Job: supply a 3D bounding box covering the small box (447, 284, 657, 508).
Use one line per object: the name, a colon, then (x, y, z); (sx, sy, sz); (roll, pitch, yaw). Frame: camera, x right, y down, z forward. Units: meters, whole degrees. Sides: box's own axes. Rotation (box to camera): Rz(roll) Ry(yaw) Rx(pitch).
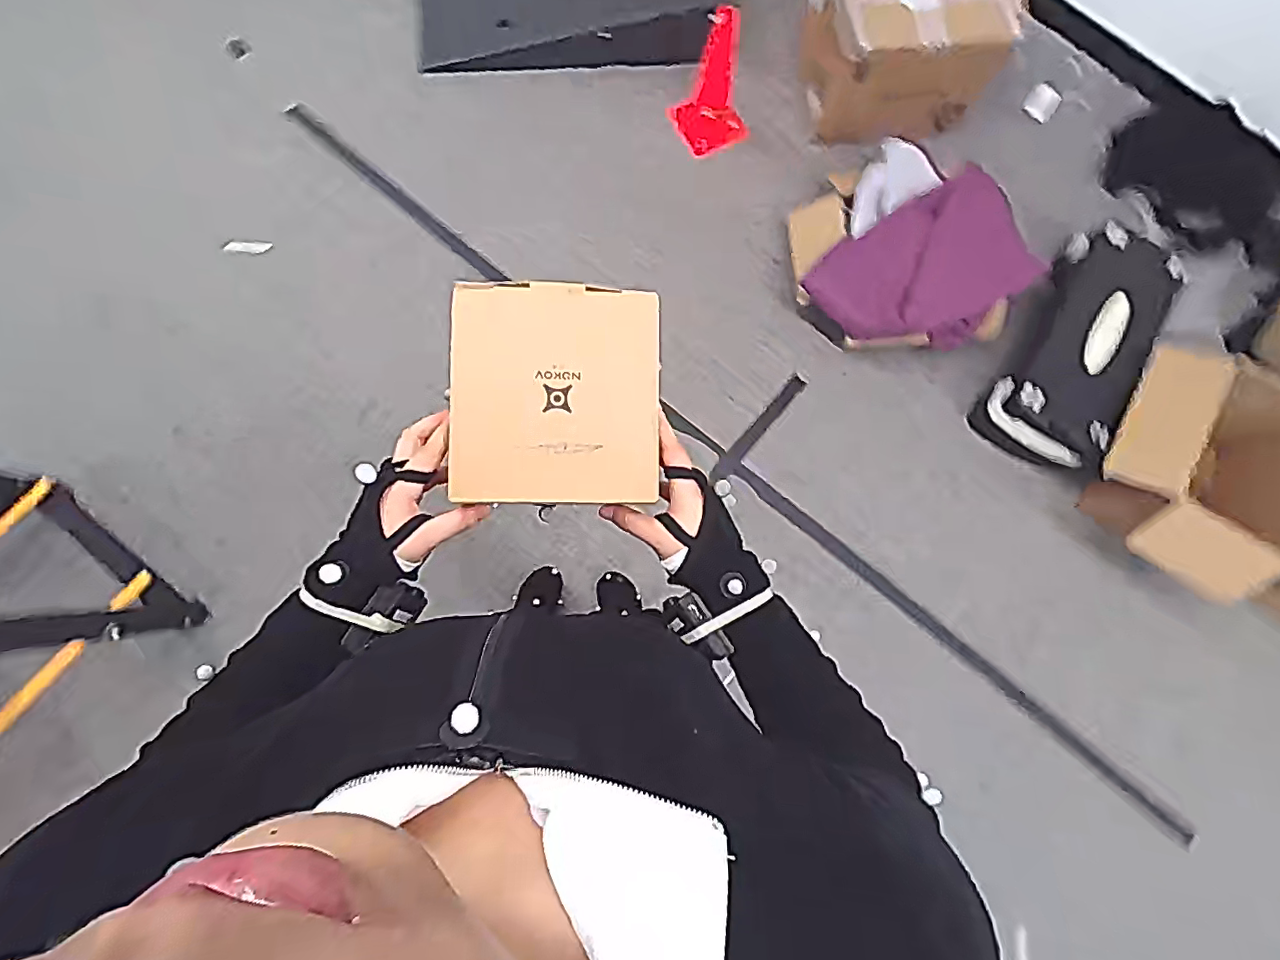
small box: (-0.078, -0.063, 0.506); (0.168, 0.176, 0.179); (-1, 88, -7)
